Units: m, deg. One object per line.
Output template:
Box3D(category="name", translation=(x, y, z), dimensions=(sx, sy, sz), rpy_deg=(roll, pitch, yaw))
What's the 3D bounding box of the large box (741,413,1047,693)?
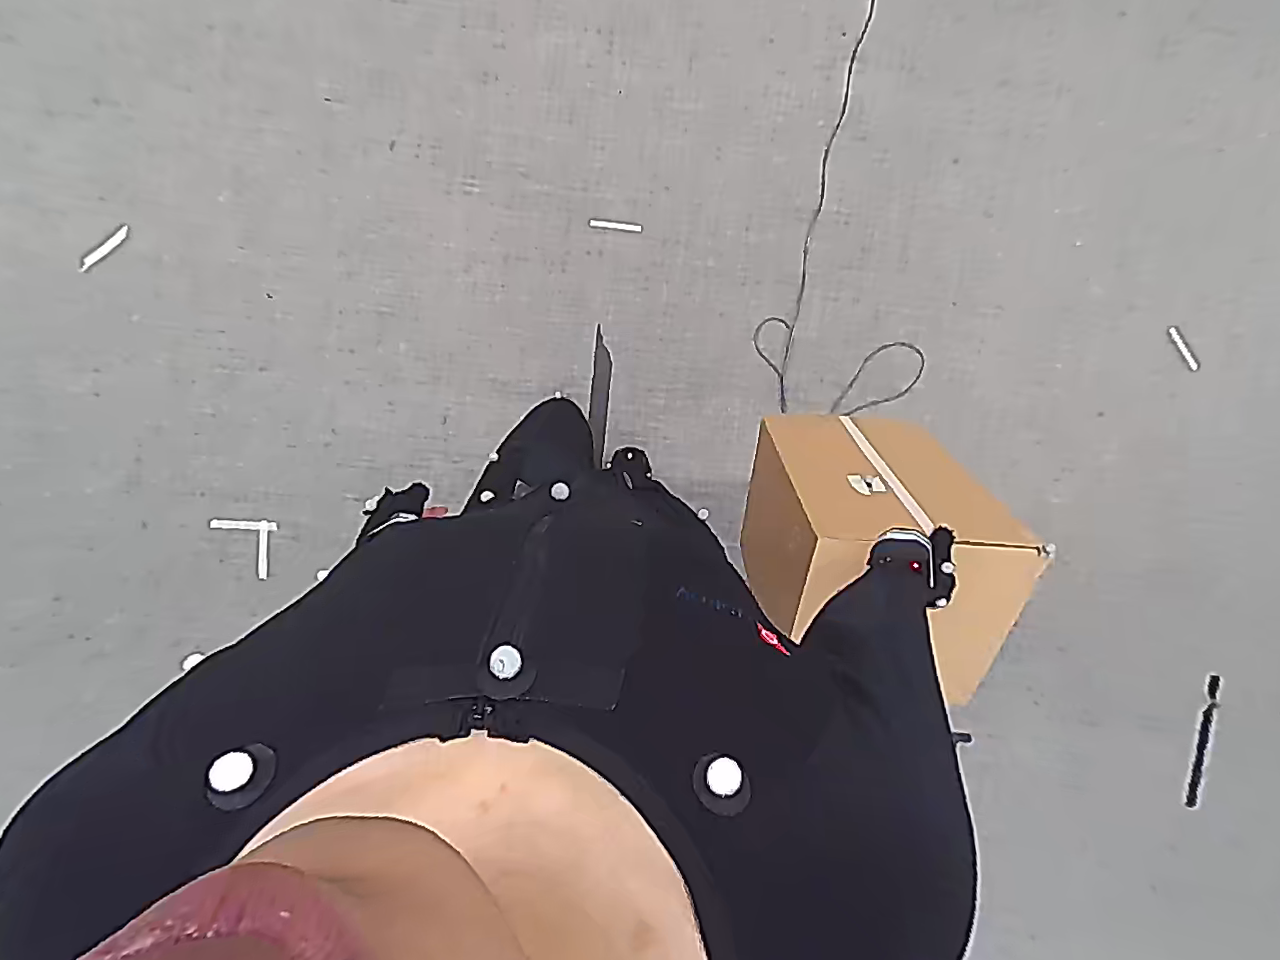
Box3D(category="large box", translation=(0.386, 0.110, 0.966), dimensions=(0.320, 0.408, 0.320), rpy_deg=(2, 122, -1))
